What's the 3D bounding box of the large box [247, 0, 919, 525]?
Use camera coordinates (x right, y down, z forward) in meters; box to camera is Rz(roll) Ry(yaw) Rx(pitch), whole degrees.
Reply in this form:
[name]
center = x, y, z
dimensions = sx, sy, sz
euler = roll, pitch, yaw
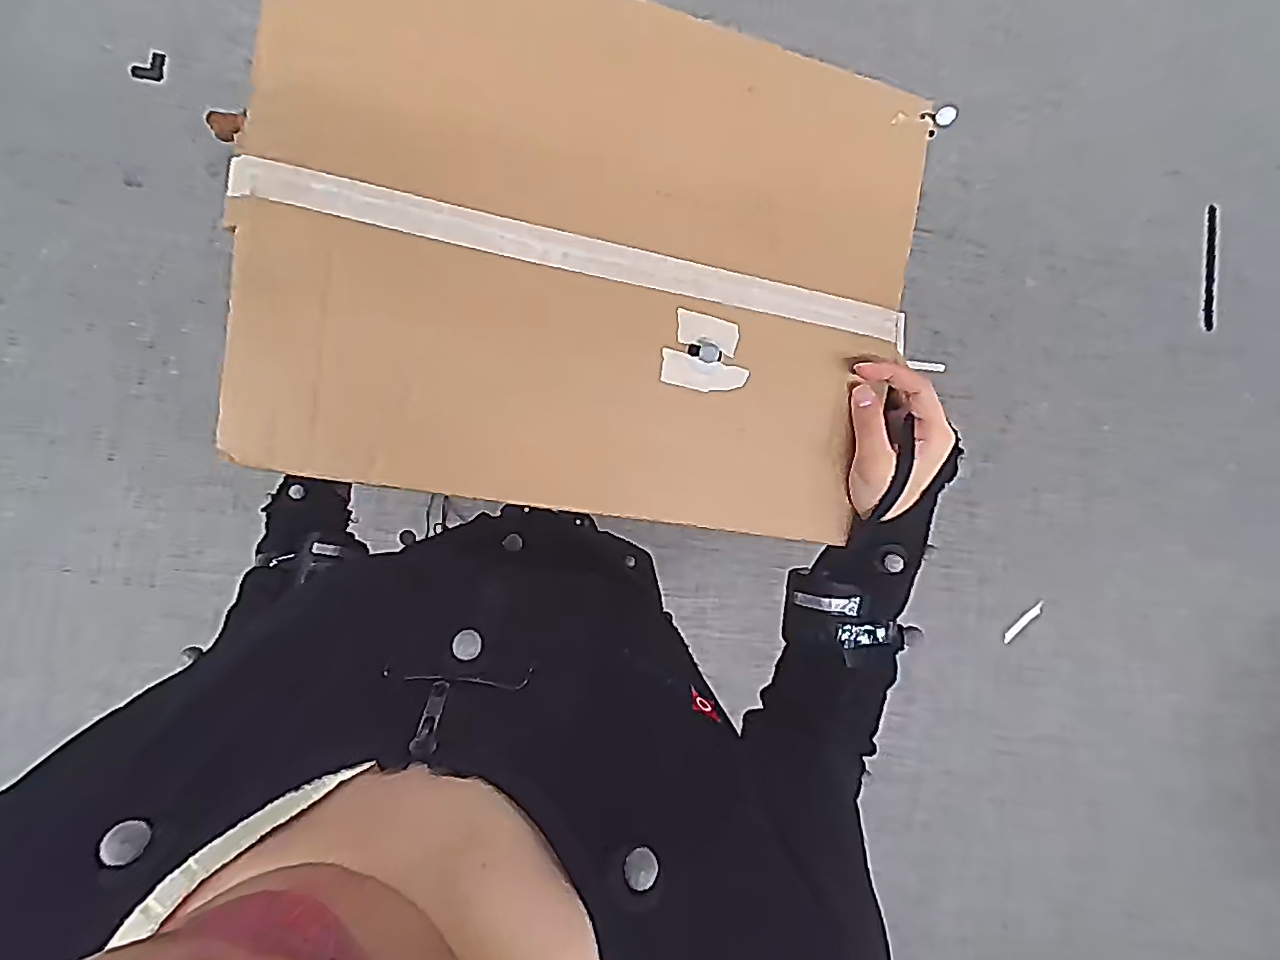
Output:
[large box]
center = -0.048, -0.153, 0.488
dimensions = 0.408, 0.320, 0.320
euler = 8, 94, -14
